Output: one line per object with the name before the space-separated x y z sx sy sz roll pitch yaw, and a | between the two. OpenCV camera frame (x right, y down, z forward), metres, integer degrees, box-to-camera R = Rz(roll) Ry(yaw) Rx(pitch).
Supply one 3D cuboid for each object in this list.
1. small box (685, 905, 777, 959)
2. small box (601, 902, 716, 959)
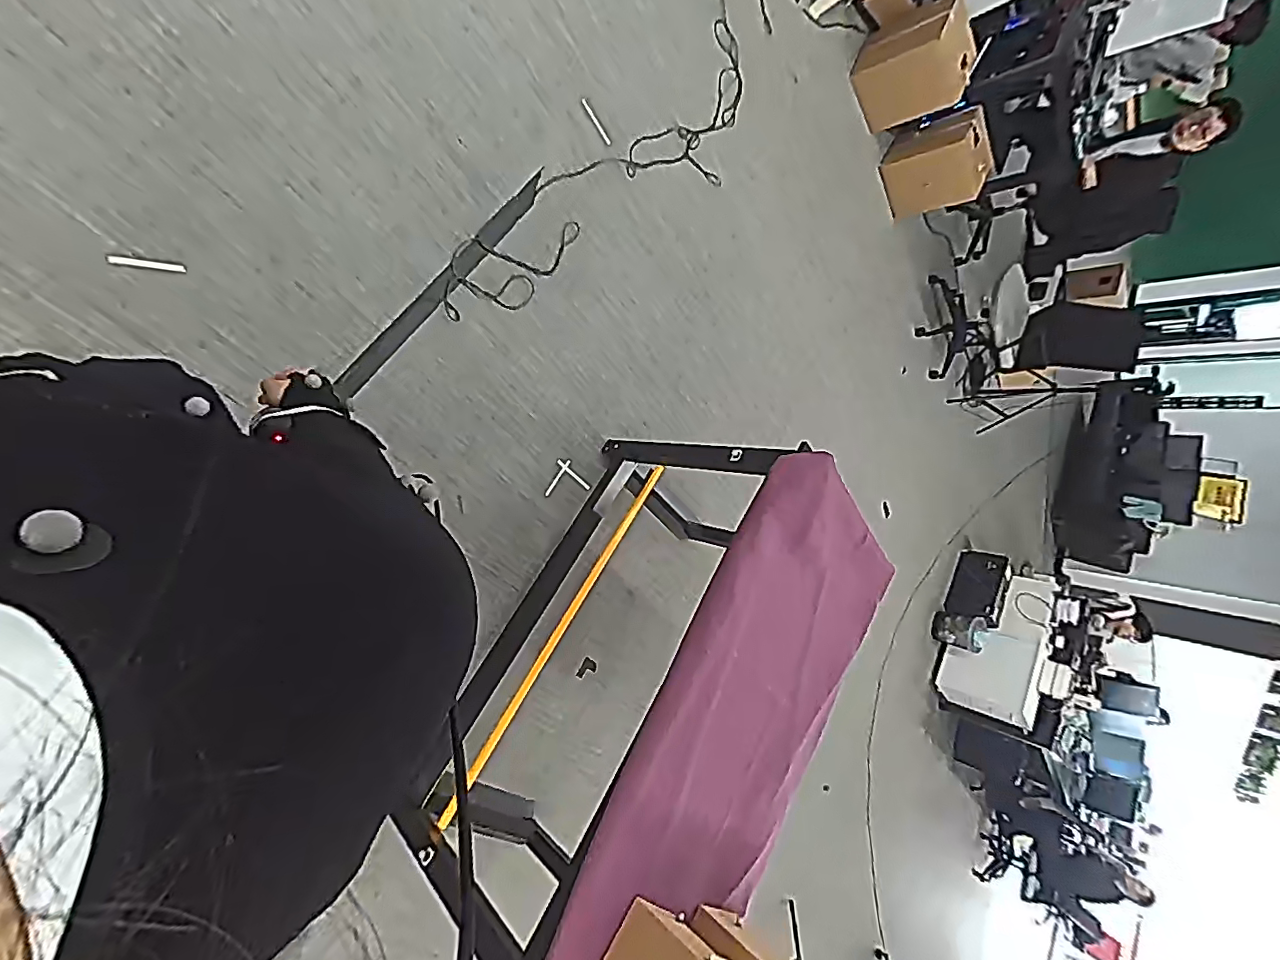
small box | 0.172 1.023 1.099 0.168 0.176 0.179 47 65 -35
small box | 0.033 0.900 0.954 0.179 0.176 0.168 -53 128 -24
